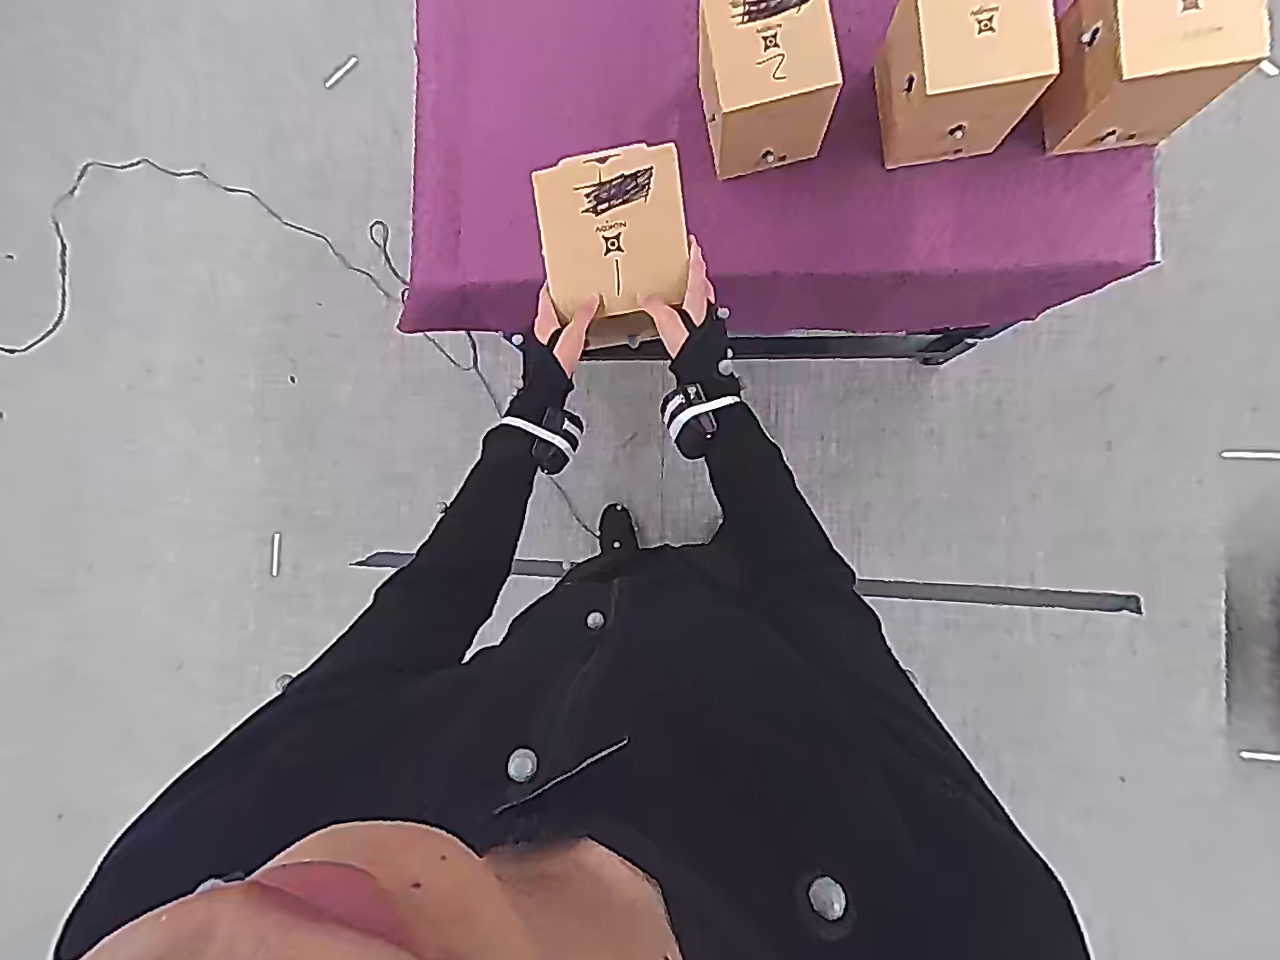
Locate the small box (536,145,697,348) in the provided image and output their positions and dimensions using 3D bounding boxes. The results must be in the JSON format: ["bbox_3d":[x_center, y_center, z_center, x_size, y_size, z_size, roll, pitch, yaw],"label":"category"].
[{"bbox_3d":[-0.019,-0.278,0.684,0.168,0.176,0.179,-7,94,8],"label":"small box"}]

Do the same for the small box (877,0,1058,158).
[{"bbox_3d":[0.460,-0.599,0.785,0.168,0.176,0.179,-5,88,6],"label":"small box"}]

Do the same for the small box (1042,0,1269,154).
[{"bbox_3d":[0.697,-0.600,0.756,0.168,0.176,0.179,-3,88,8],"label":"small box"}]
